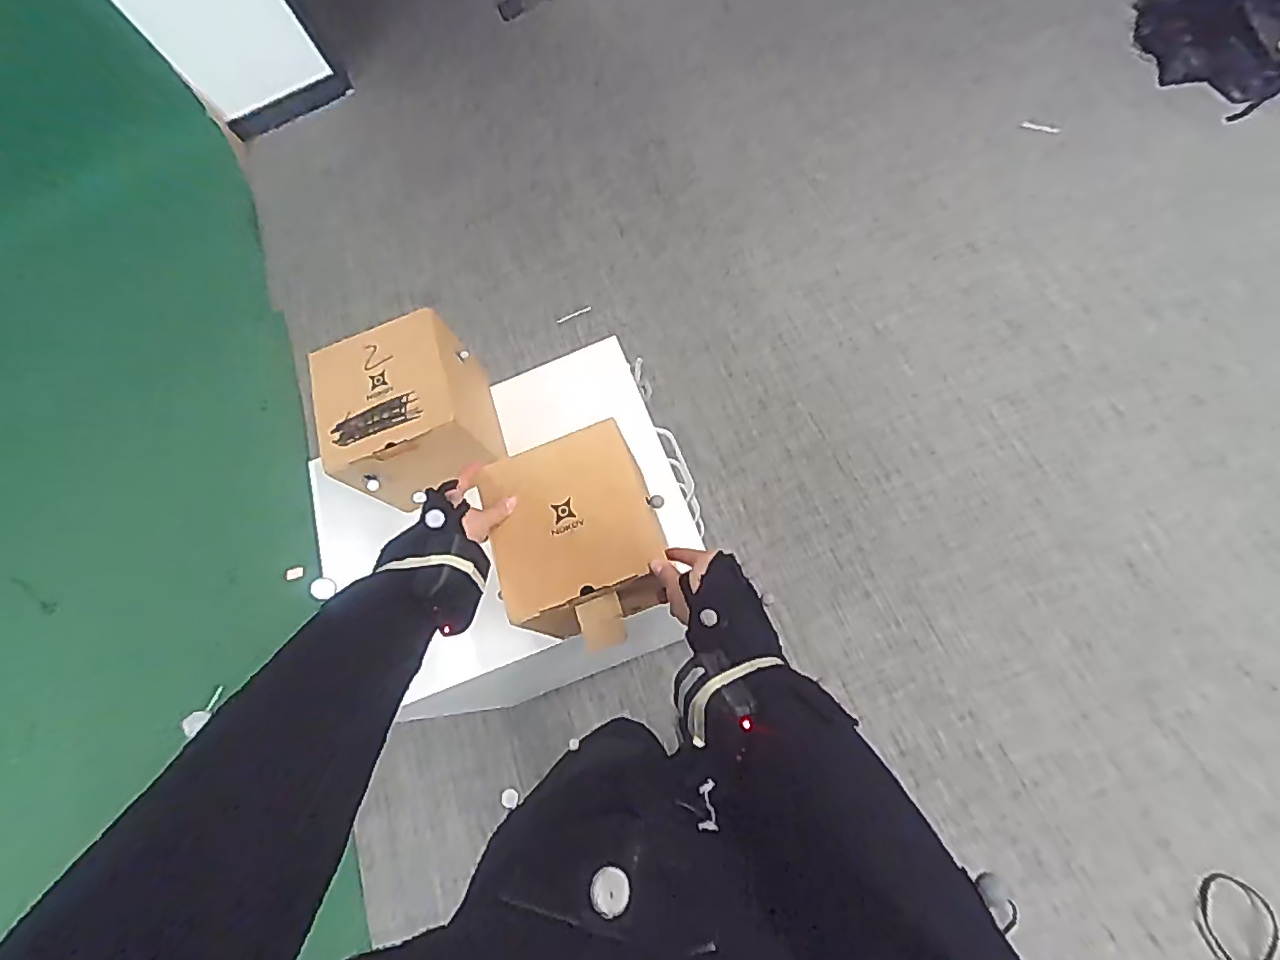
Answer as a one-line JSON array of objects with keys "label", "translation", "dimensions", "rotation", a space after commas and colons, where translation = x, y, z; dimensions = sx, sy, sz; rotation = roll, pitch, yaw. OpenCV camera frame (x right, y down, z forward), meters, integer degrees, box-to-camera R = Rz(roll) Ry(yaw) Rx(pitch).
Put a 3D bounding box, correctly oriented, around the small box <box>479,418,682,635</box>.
[{"label": "small box", "translation": [-0.060, 0.063, 0.622], "dimensions": [0.168, 0.176, 0.179], "rotation": [-21, 67, 2]}]
